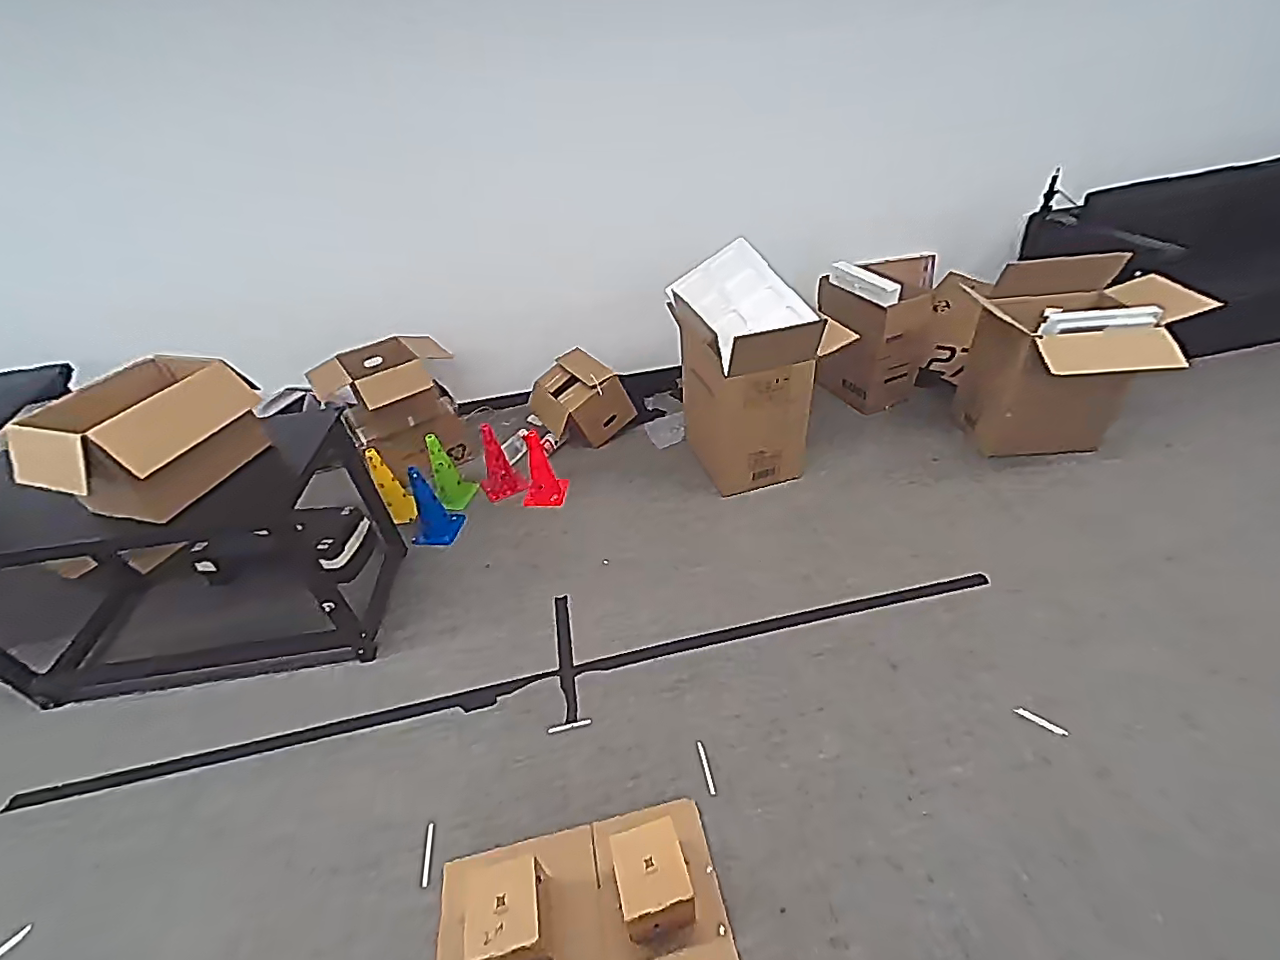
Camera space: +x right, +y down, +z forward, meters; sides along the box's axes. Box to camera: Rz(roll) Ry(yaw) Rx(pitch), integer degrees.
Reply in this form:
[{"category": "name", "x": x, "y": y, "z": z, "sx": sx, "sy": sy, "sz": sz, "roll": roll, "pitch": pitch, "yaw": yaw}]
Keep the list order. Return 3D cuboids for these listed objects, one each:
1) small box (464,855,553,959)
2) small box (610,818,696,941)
[{"category": "small box", "x": -0.306, "y": 1.029, "z": 1.272, "sx": 0.168, "sy": 0.176, "sz": 0.179, "roll": -12, "pitch": 39, "yaw": -6}, {"category": "small box", "x": 0.030, "y": 0.968, "z": 1.313, "sx": 0.168, "sy": 0.176, "sz": 0.179, "roll": -14, "pitch": 39, "yaw": -9}]
